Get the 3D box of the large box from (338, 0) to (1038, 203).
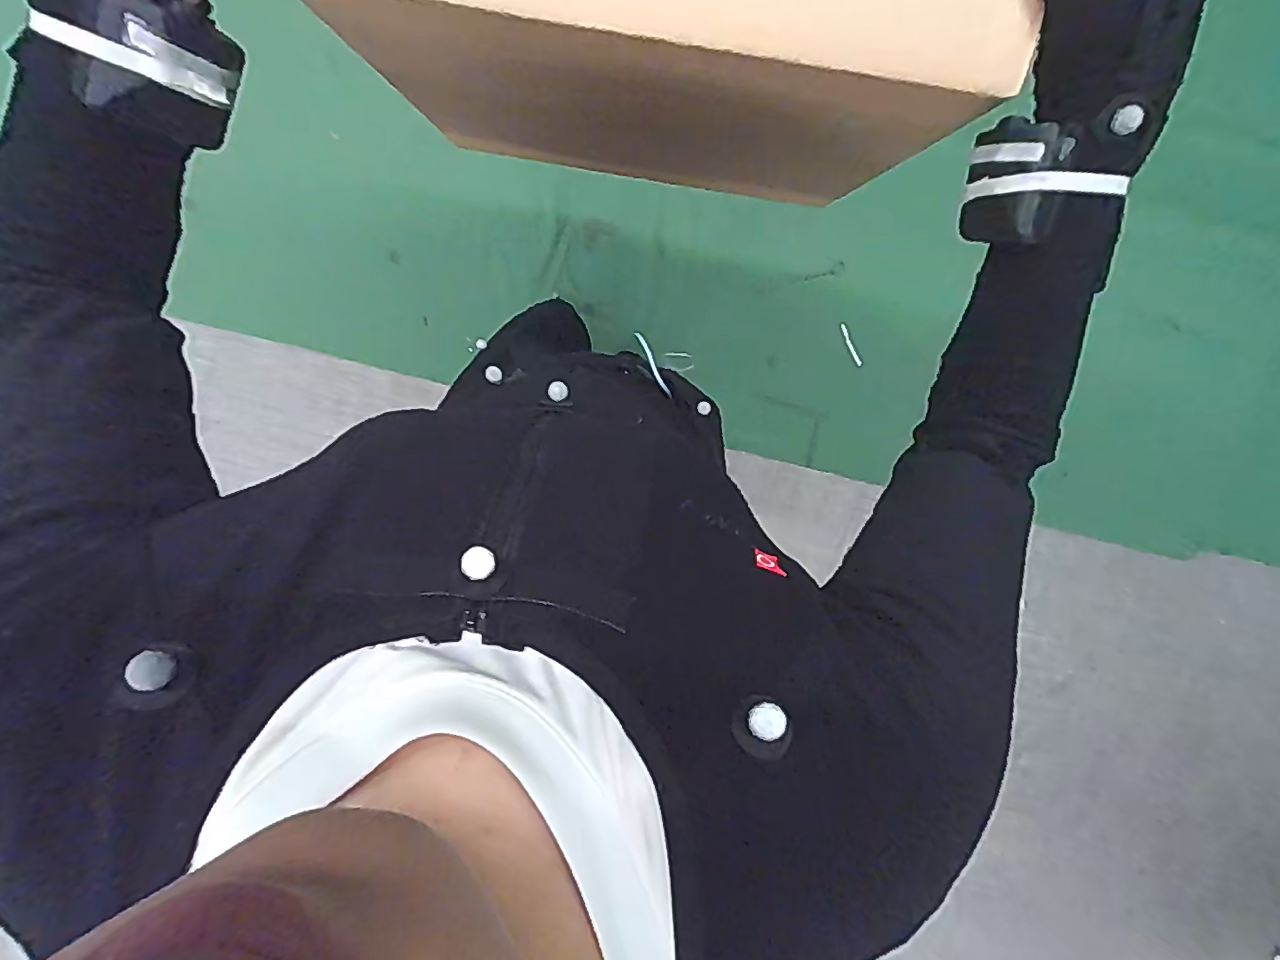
[{"bbox_3d":[0.032,-0.429,0.401,0.408,0.320,0.320,7,106,-4],"label":"large box"}]
